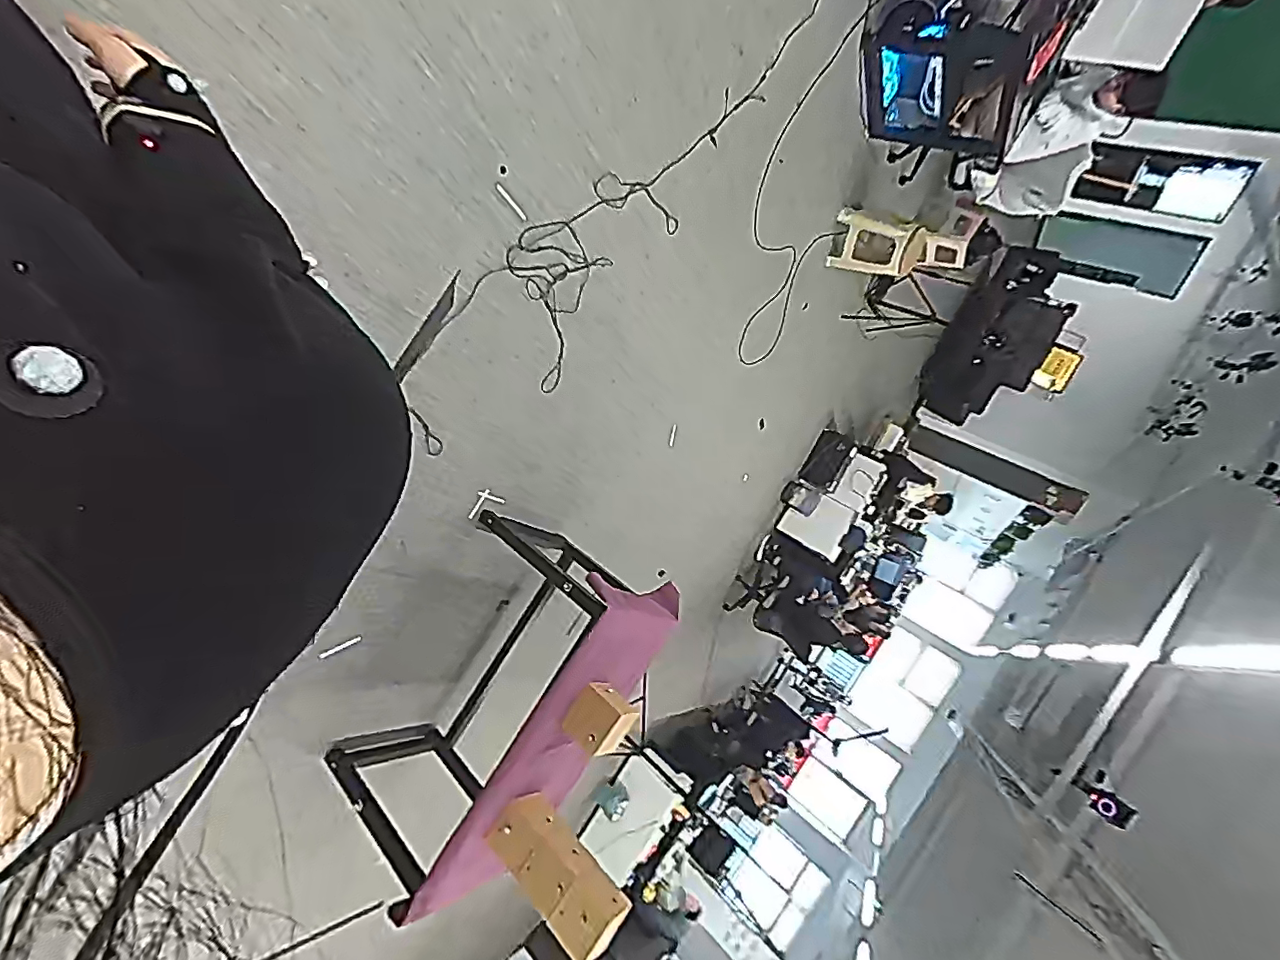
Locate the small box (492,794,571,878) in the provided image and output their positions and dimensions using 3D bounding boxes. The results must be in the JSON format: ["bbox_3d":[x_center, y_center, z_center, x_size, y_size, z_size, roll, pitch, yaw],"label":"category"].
[{"bbox_3d":[-0.384,1.250,1.919,0.168,0.176,0.179,-57,149,-4],"label":"small box"}]

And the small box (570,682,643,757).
[{"bbox_3d":[-0.127,0.847,1.926,0.179,0.176,0.168,-56,151,-4],"label":"small box"}]

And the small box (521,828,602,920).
[{"bbox_3d":[-0.265,1.323,1.833,0.168,0.176,0.179,-56,151,-6],"label":"small box"}]

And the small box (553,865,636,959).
[{"bbox_3d":[-0.148,1.396,1.745,0.168,0.176,0.179,-56,150,-5],"label":"small box"}]
